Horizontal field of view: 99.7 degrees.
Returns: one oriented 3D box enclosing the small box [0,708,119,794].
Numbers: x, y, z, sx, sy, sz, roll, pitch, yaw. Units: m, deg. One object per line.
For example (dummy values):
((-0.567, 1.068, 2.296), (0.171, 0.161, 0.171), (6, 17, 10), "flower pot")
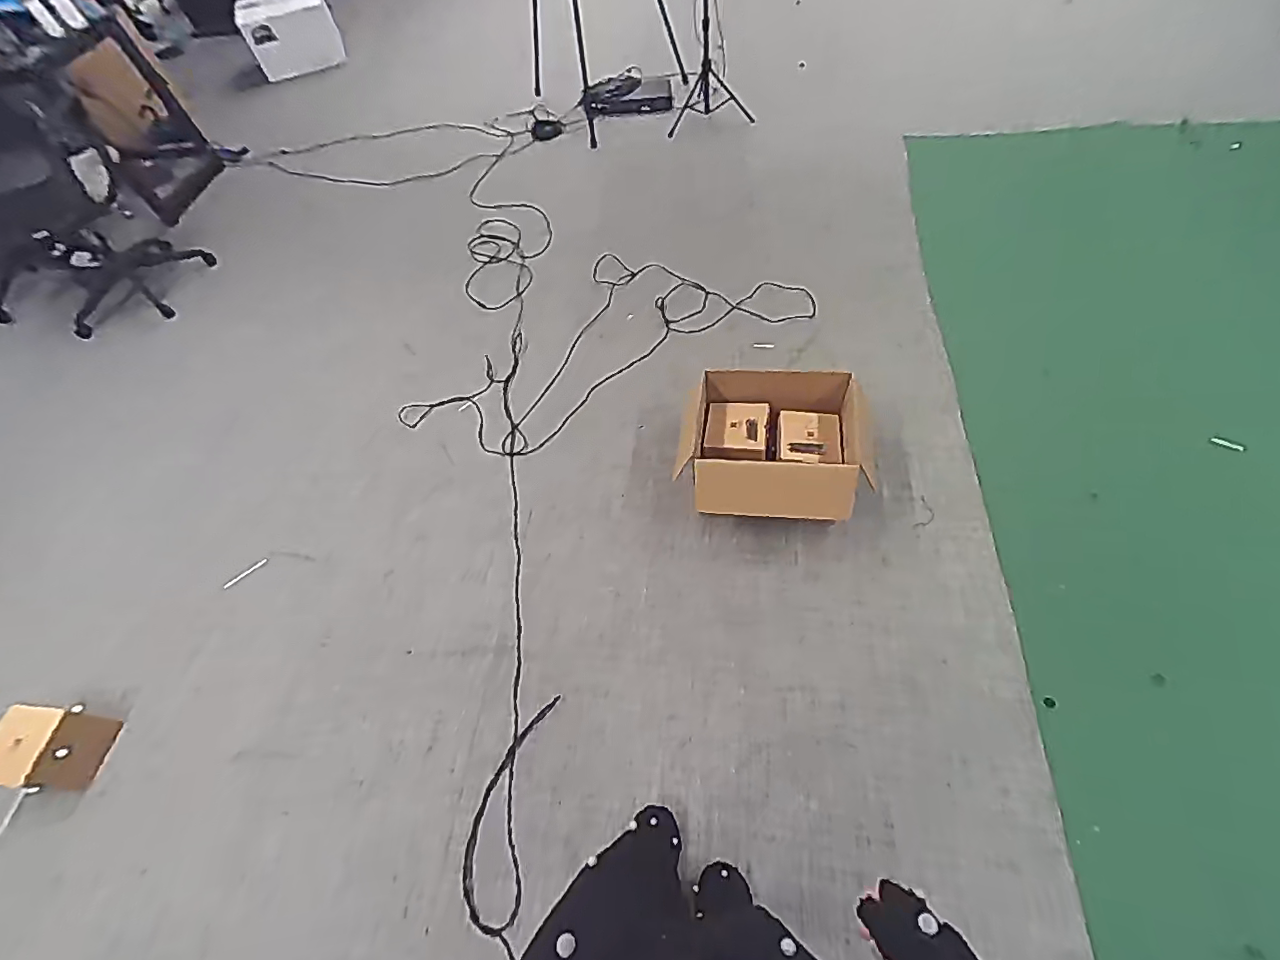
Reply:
((-1.505, 0.694, 1.380), (0.168, 0.176, 0.179), (1, 59, 8), "small box")
